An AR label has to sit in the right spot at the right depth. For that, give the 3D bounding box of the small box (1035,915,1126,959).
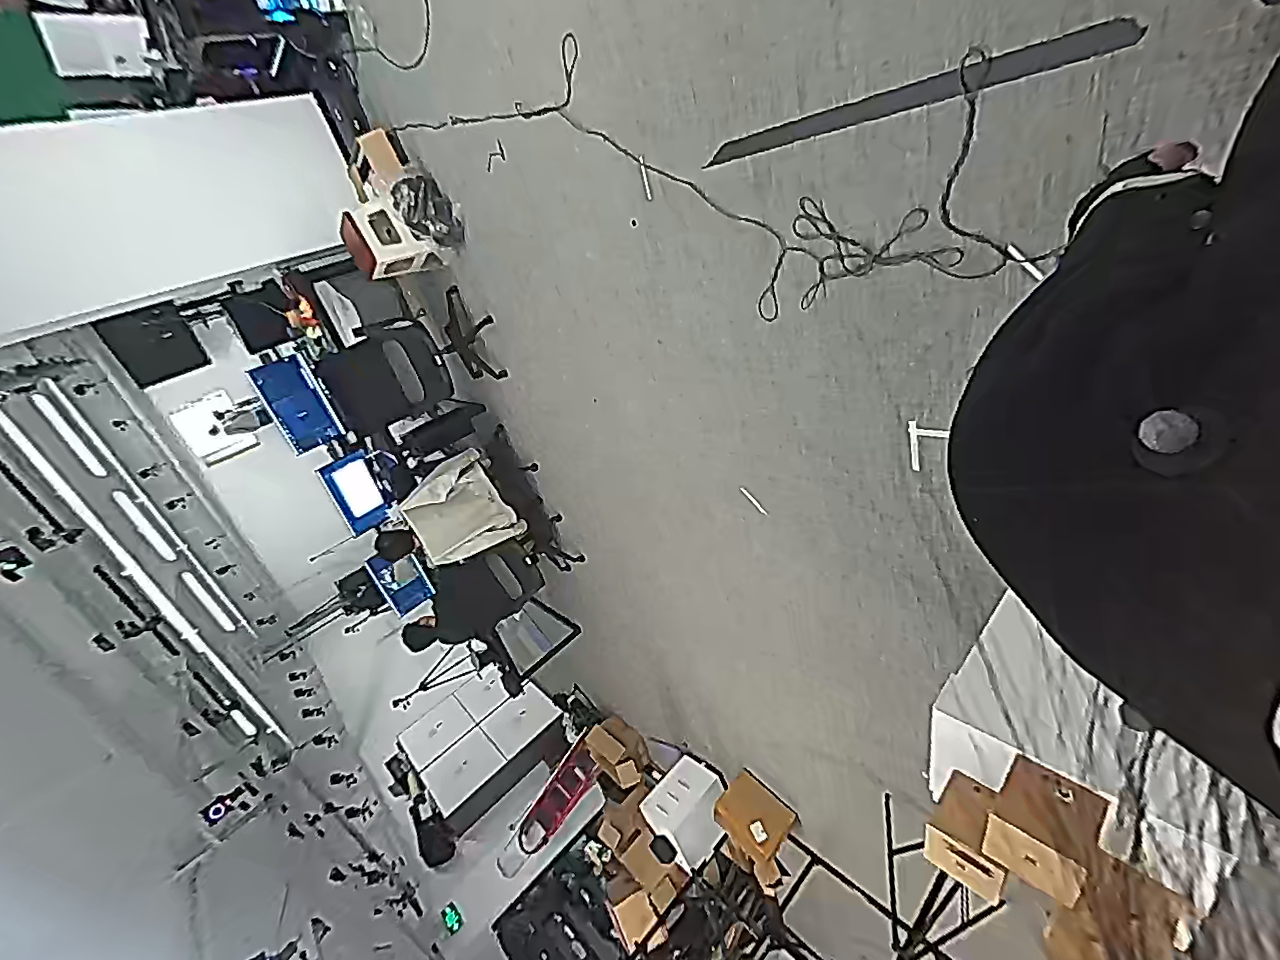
[{"bbox_3d":[0.856,0.997,1.037,0.168,0.176,0.179,21,136,44],"label":"small box"}]

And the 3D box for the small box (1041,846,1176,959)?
[{"bbox_3d":[0.971,0.915,1.122,0.168,0.176,0.179,22,136,44],"label":"small box"}]
